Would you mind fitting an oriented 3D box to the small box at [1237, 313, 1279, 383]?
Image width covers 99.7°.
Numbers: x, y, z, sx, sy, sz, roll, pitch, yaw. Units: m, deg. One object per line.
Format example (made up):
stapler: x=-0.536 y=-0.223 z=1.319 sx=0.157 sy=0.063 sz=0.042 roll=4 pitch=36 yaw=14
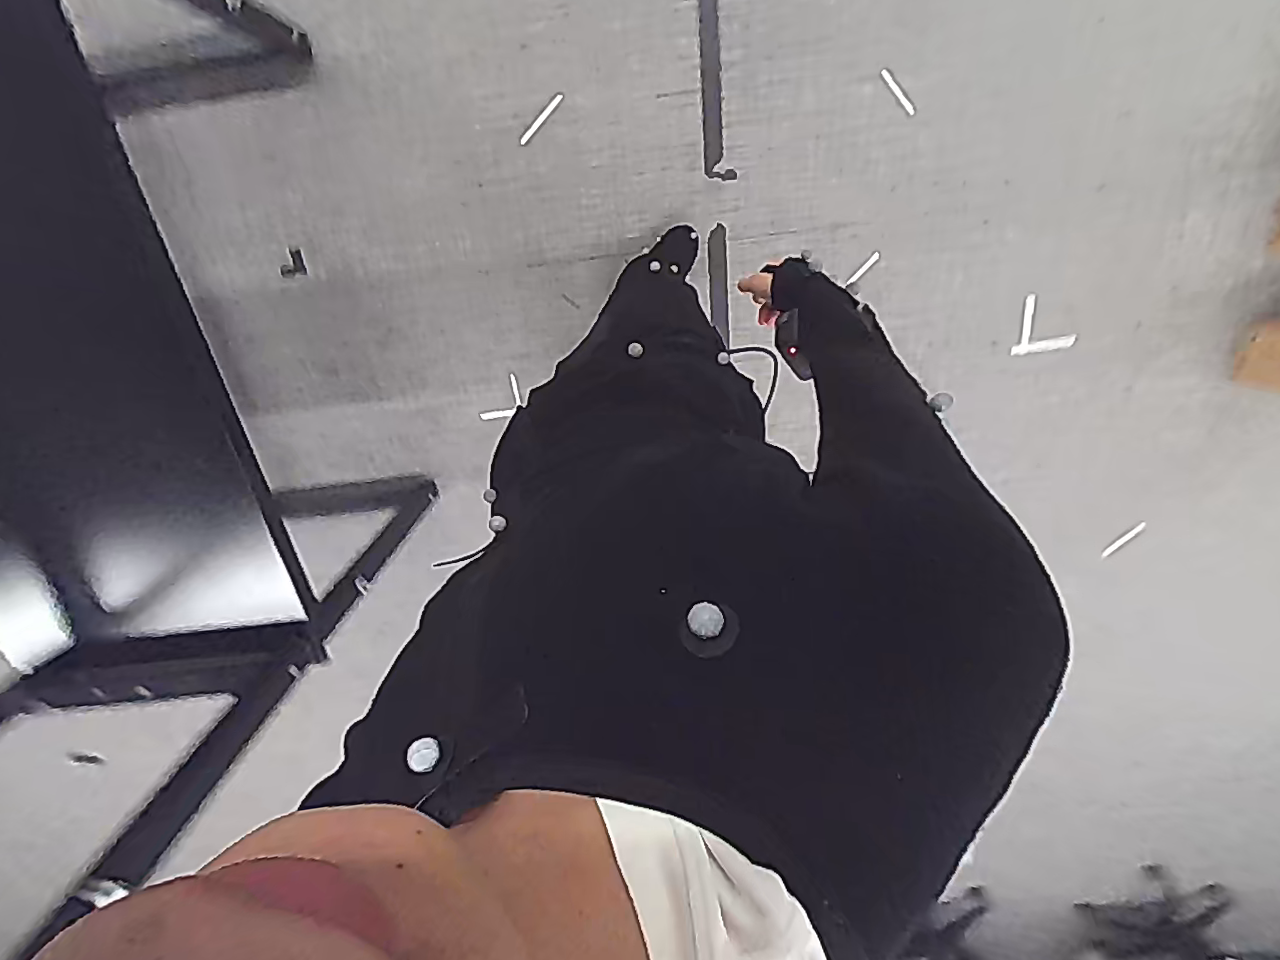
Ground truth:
small box: x=1.800 y=-0.359 z=1.462 sx=0.179 sy=0.176 sz=0.168 roll=-10 pitch=114 yaw=3
